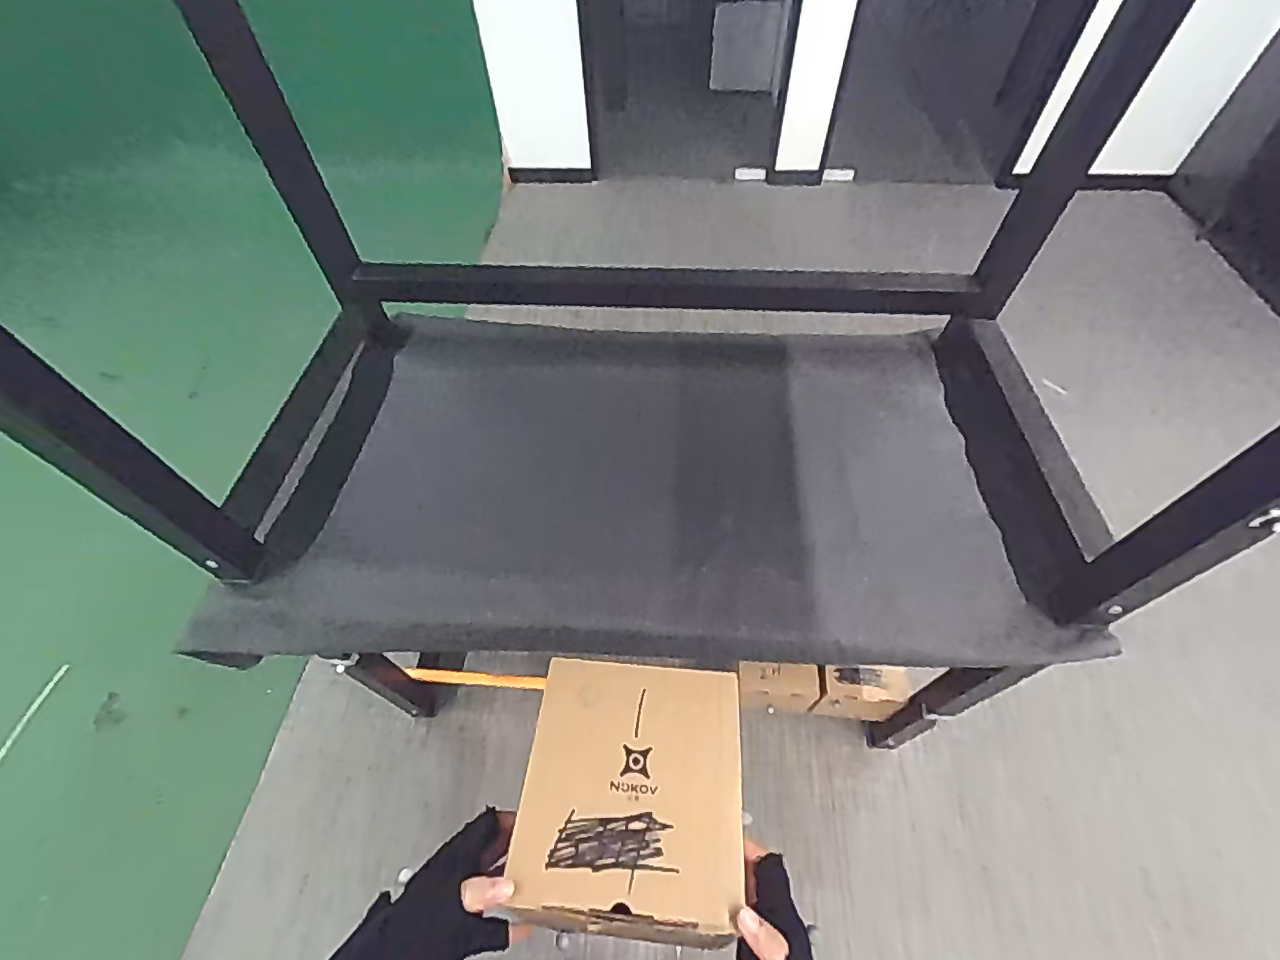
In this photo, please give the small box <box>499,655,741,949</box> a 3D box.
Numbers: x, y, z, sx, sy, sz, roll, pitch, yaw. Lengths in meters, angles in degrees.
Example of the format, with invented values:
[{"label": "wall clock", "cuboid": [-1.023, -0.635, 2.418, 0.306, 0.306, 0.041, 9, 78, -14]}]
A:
[{"label": "small box", "cuboid": [-0.004, 0.278, 0.467, 0.168, 0.176, 0.179, 4, 44, 4]}]
